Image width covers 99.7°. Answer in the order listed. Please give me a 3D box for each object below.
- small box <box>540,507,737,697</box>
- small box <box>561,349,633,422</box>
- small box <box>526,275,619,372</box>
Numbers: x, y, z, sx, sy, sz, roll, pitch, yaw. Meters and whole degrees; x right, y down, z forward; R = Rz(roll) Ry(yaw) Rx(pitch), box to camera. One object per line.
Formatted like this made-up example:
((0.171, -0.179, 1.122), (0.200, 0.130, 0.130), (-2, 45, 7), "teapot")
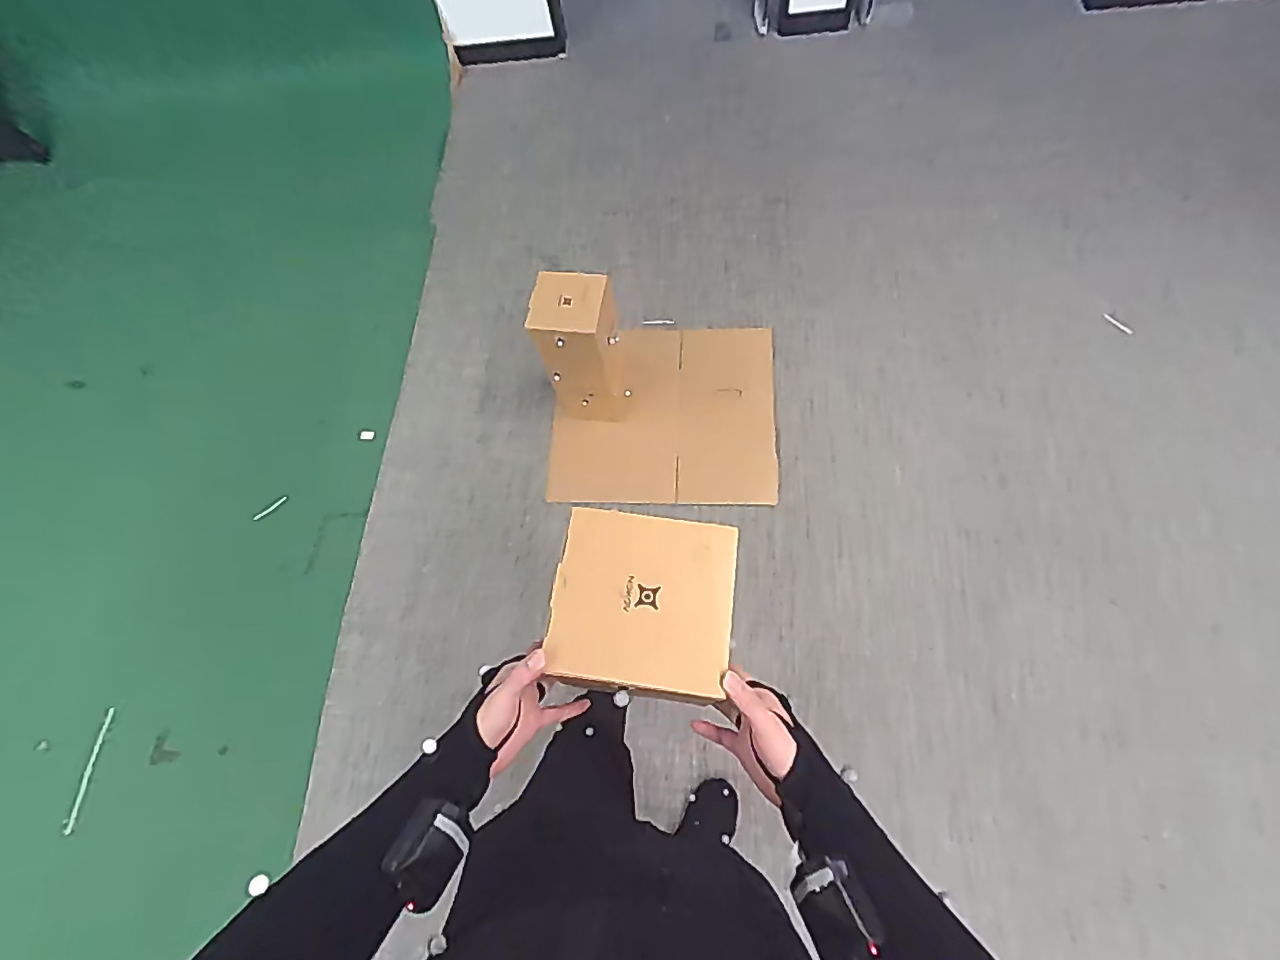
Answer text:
((0.006, 0.144, 0.603), (0.179, 0.176, 0.168), (6, 66, 6), "small box")
((-0.126, -0.289, 1.664), (0.179, 0.176, 0.168), (5, 70, 8), "small box")
((-0.161, -0.387, 1.353), (0.179, 0.176, 0.168), (7, 71, 9), "small box")
